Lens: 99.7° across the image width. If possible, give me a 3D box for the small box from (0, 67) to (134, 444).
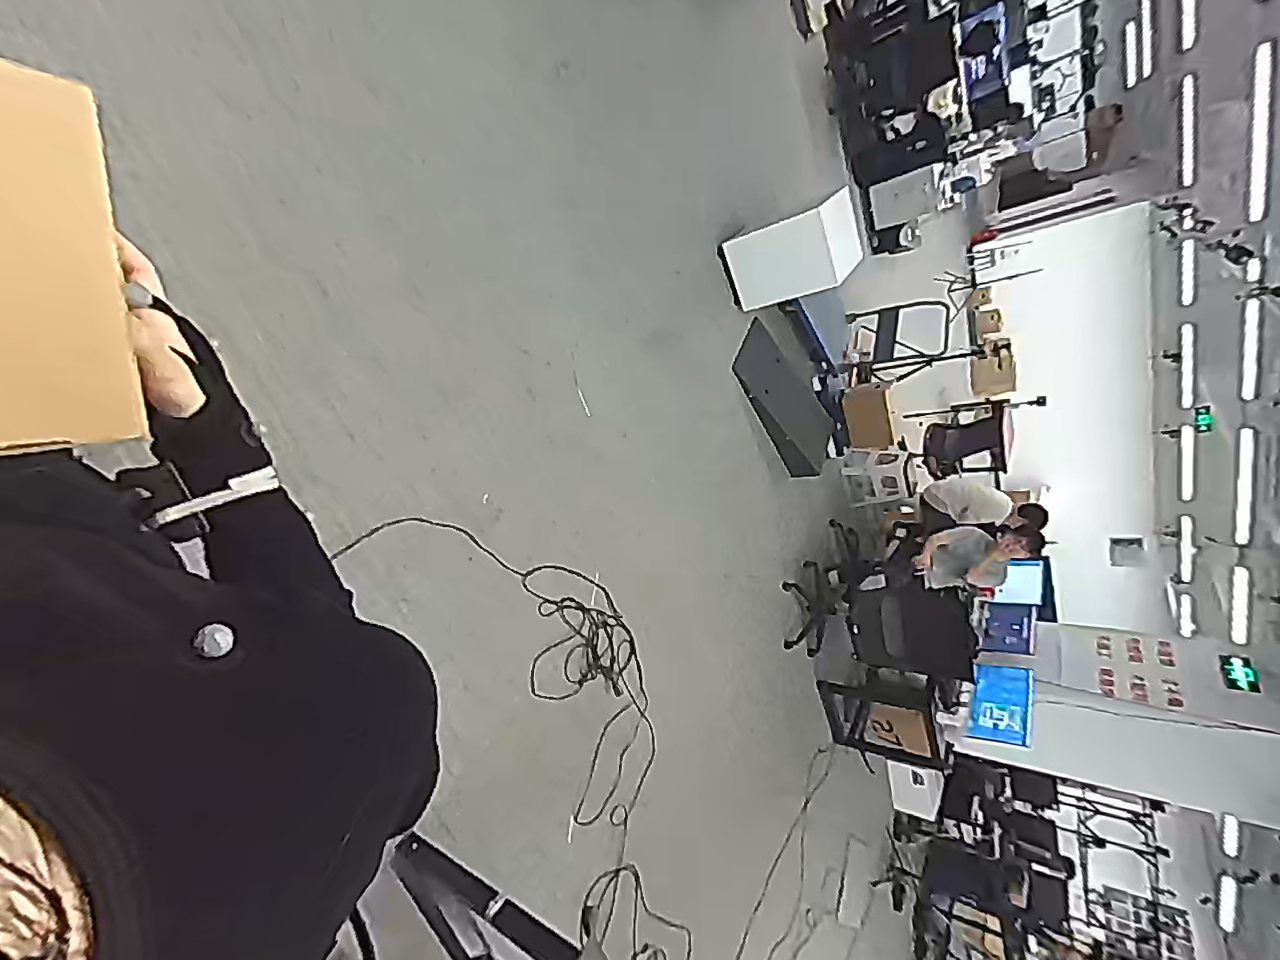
[{"bbox_3d":[-0.394,-0.114,0.267,0.168,0.176,0.179,-15,116,-53],"label":"small box"}]
